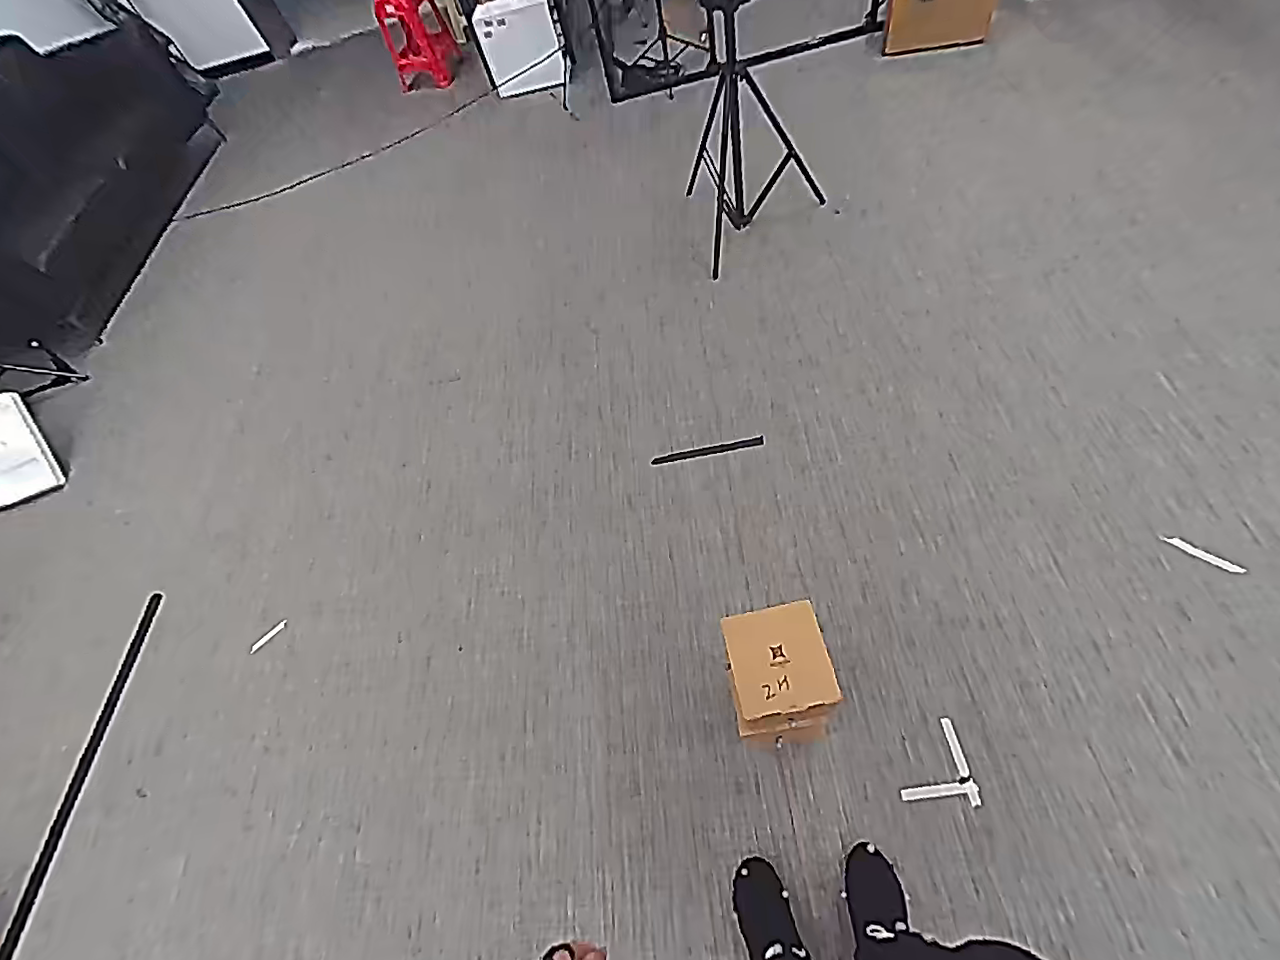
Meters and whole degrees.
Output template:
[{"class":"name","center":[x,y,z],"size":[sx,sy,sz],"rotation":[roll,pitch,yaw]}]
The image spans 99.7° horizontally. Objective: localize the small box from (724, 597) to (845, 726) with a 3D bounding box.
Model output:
[{"class":"small box","center":[0.256,0.337,0.992],"size":[0.168,0.176,0.179],"rotation":[-14,59,6]}]

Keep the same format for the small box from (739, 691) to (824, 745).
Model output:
[{"class":"small box","center":[0.320,0.509,1.265],"size":[0.168,0.176,0.179],"rotation":[-11,58,7]}]
